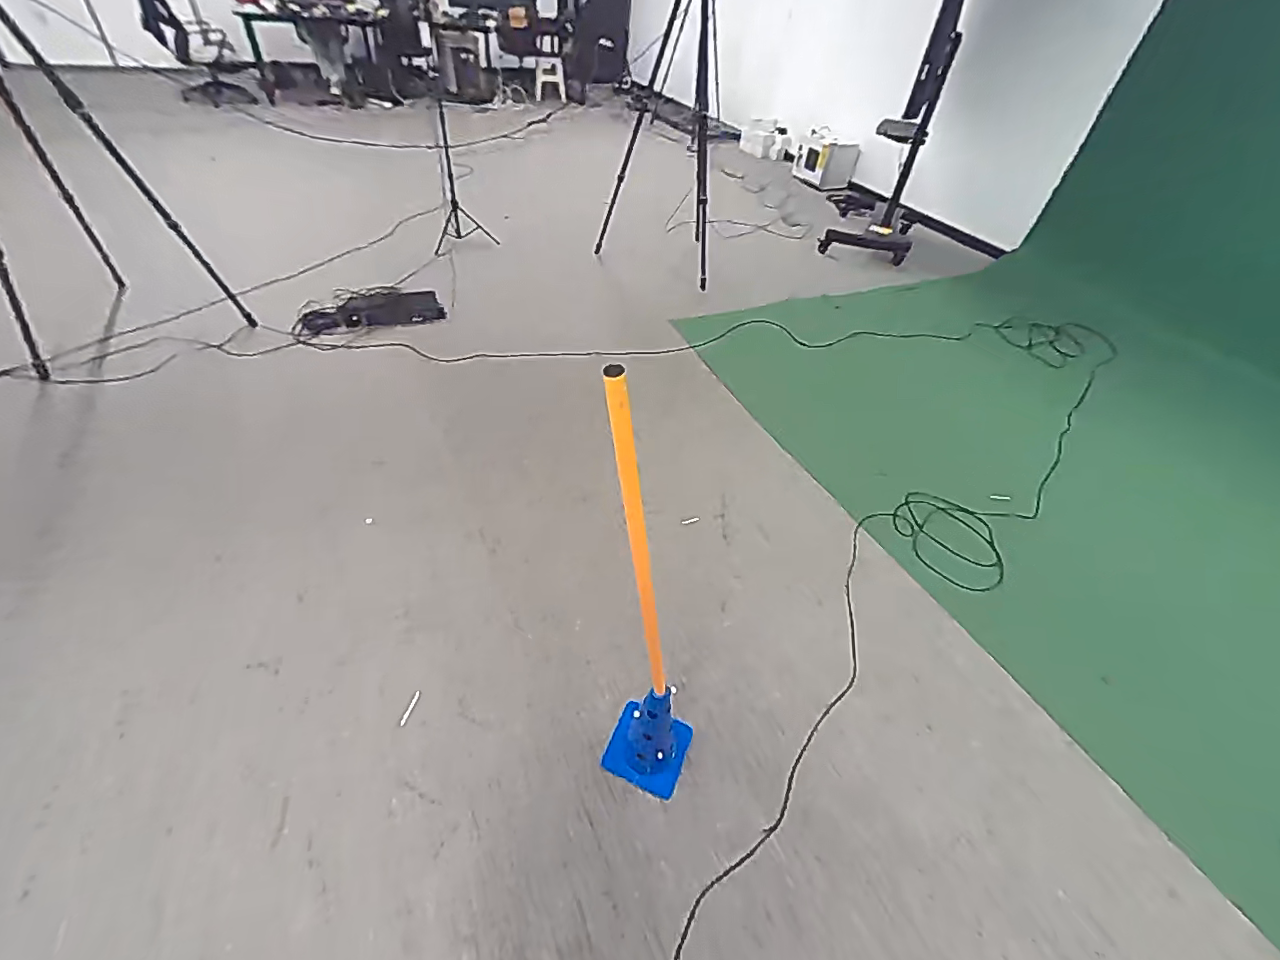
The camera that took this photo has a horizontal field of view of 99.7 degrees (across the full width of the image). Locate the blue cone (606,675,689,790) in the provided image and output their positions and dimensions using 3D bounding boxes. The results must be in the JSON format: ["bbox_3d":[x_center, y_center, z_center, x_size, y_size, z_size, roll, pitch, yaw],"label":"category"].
[{"bbox_3d":[0.030,0.580,1.303,0.193,0.380,0.192,18,46,13],"label":"blue cone"}]
